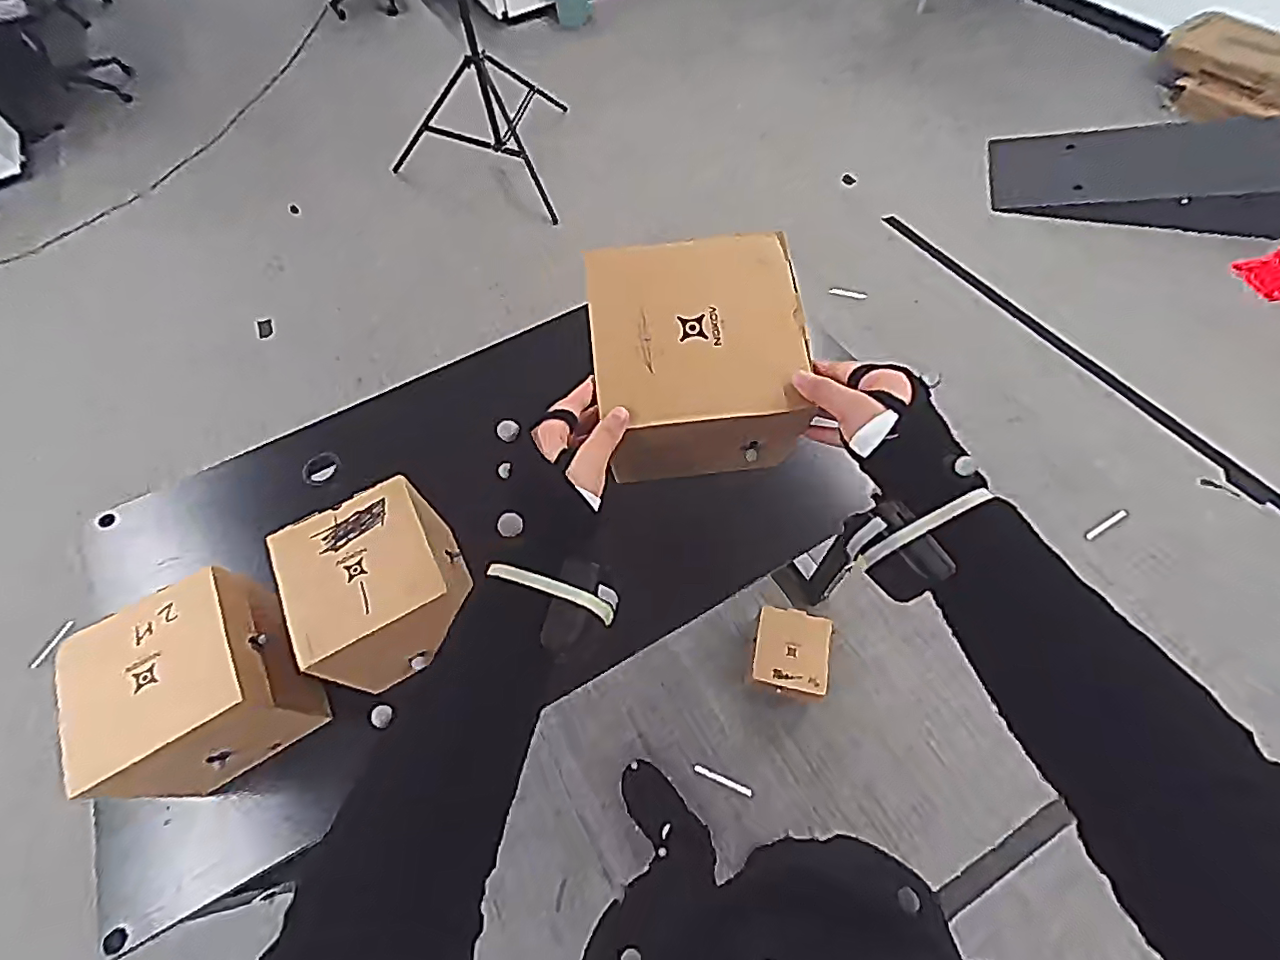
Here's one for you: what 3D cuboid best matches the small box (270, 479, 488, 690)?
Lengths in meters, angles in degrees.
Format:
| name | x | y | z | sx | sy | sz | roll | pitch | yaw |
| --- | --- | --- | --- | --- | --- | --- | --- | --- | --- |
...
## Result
| name | x | y | z | sx | sy | sz | roll | pitch | yaw |
| --- | --- | --- | --- | --- | --- | --- | --- | --- | --- |
| small box | -0.315 | 0.136 | 0.677 | 0.168 | 0.176 | 0.179 | -28 | 63 | -12 |

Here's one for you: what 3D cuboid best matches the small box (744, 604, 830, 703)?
| name | x | y | z | sx | sy | sz | roll | pitch | yaw |
| --- | --- | --- | --- | --- | --- | --- | --- | --- | --- |
| small box | 0.350 | 0.424 | 1.308 | 0.168 | 0.176 | 0.179 | 10 | 62 | 10 |

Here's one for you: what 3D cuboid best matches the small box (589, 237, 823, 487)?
| name | x | y | z | sx | sy | sz | roll | pitch | yaw |
| --- | --- | --- | --- | --- | --- | --- | --- | --- | --- |
| small box | 0.053 | -0.099 | 0.518 | 0.179 | 0.176 | 0.168 | -7 | 74 | 1 |
